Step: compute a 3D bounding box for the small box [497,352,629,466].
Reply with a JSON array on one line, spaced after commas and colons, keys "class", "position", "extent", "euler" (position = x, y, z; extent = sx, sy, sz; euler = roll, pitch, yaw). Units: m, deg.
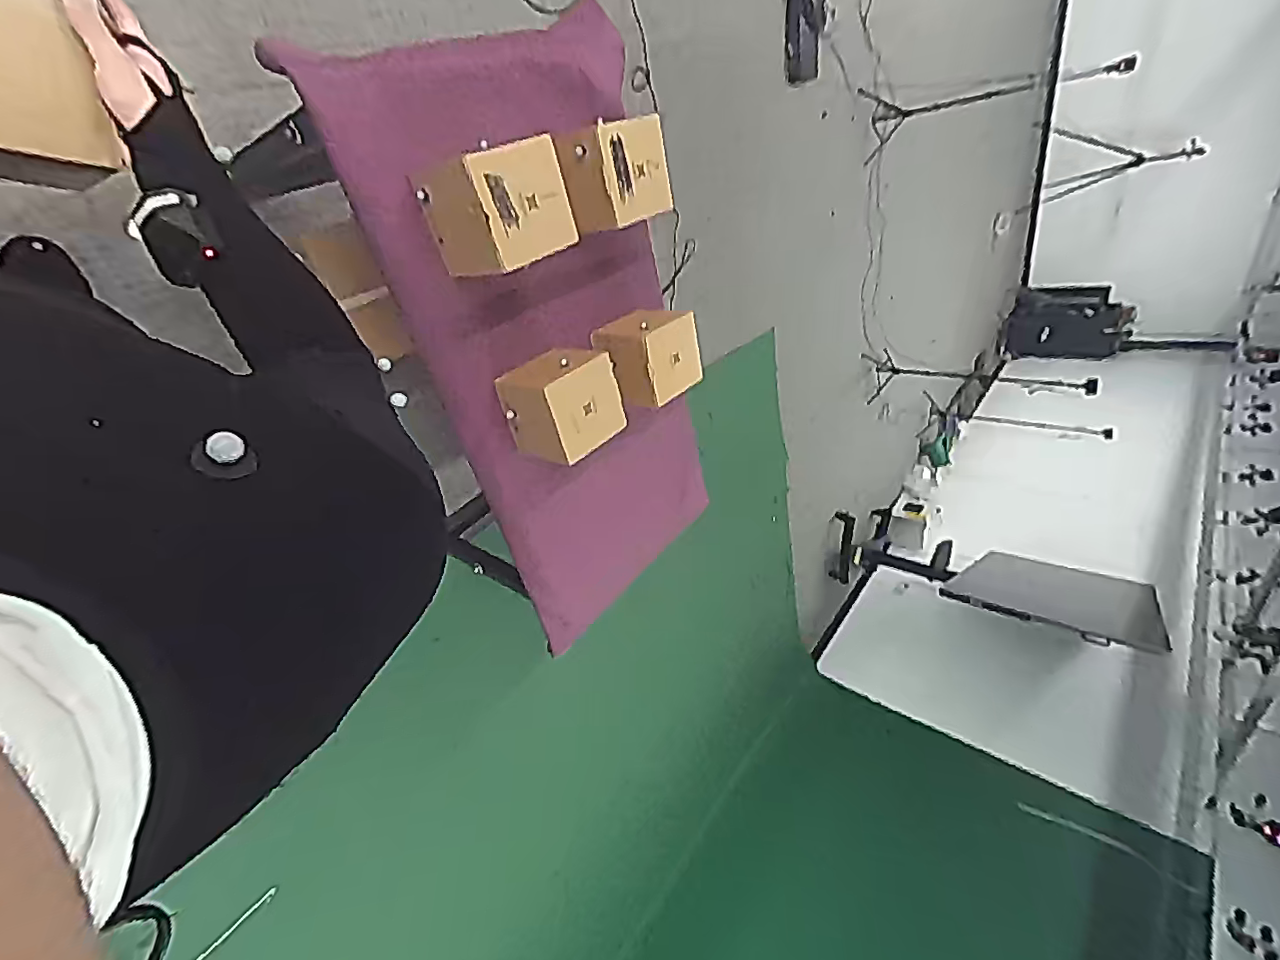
[{"class": "small box", "position": [-0.152, -0.152, 1.090], "extent": [0.179, 0.176, 0.168], "euler": [-38, 128, -35]}]

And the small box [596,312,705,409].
[{"class": "small box", "position": [0.026, -0.284, 1.252], "extent": [0.179, 0.176, 0.168], "euler": [-37, 128, -34]}]

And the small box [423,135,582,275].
[{"class": "small box", "position": [-0.232, -0.450, 0.899], "extent": [0.179, 0.176, 0.168], "euler": [-42, 131, -35]}]

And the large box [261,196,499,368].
[{"class": "large box", "position": [-0.663, -0.524, 1.413], "extent": [0.408, 0.320, 0.320], "euler": [-40, 130, -35]}]
